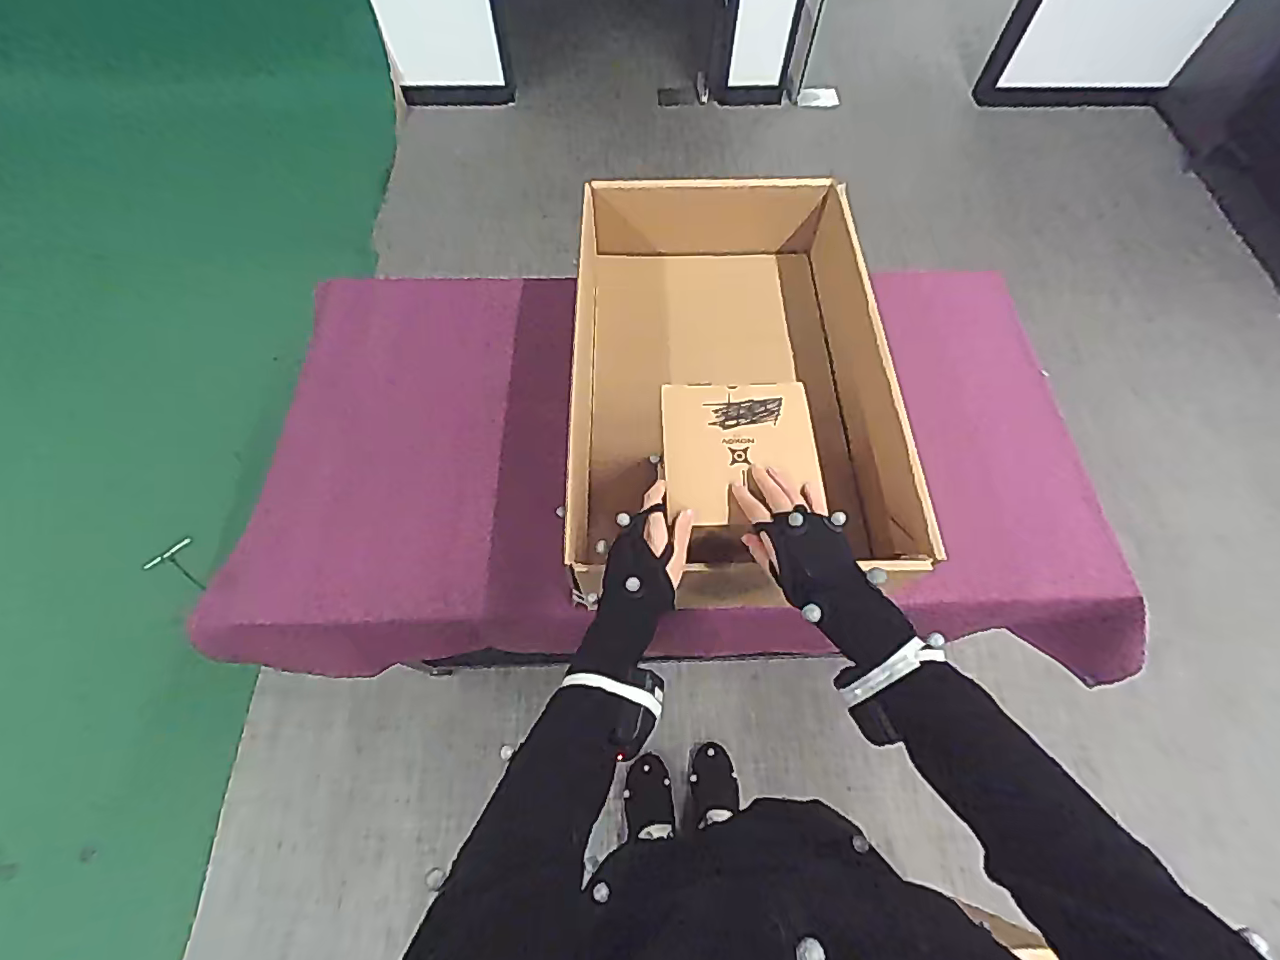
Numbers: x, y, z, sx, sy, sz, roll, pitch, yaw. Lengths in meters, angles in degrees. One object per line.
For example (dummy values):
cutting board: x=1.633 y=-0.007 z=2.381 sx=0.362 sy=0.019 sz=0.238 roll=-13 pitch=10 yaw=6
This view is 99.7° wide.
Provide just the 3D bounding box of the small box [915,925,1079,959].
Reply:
small box: x=0.528 y=0.771 z=0.783 sx=0.168 sy=0.176 sz=0.179 roll=0 pitch=62 yaw=0

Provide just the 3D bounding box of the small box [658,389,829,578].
small box: x=0.109 y=0.009 z=0.653 sx=0.168 sy=0.176 sz=0.179 roll=-2 pitch=64 yaw=0
